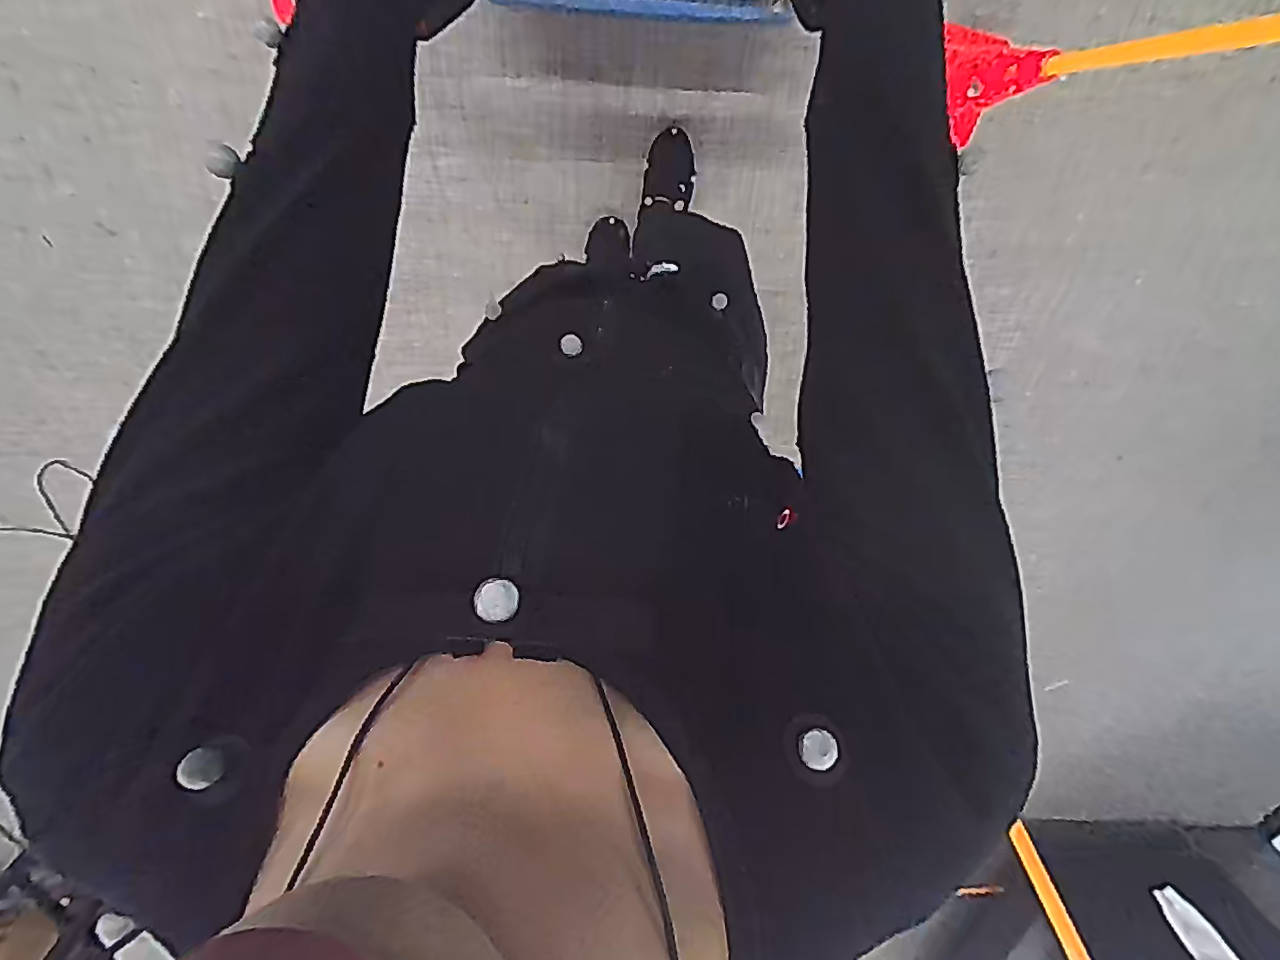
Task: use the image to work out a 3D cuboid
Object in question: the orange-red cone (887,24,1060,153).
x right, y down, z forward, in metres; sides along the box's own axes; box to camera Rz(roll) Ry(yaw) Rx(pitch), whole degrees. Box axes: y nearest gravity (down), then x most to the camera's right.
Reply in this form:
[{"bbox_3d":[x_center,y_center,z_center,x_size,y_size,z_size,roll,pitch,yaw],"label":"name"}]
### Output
[{"bbox_3d":[0.656,-0.746,1.015,0.198,0.360,0.199,12,121,-7],"label":"orange-red cone"}]
